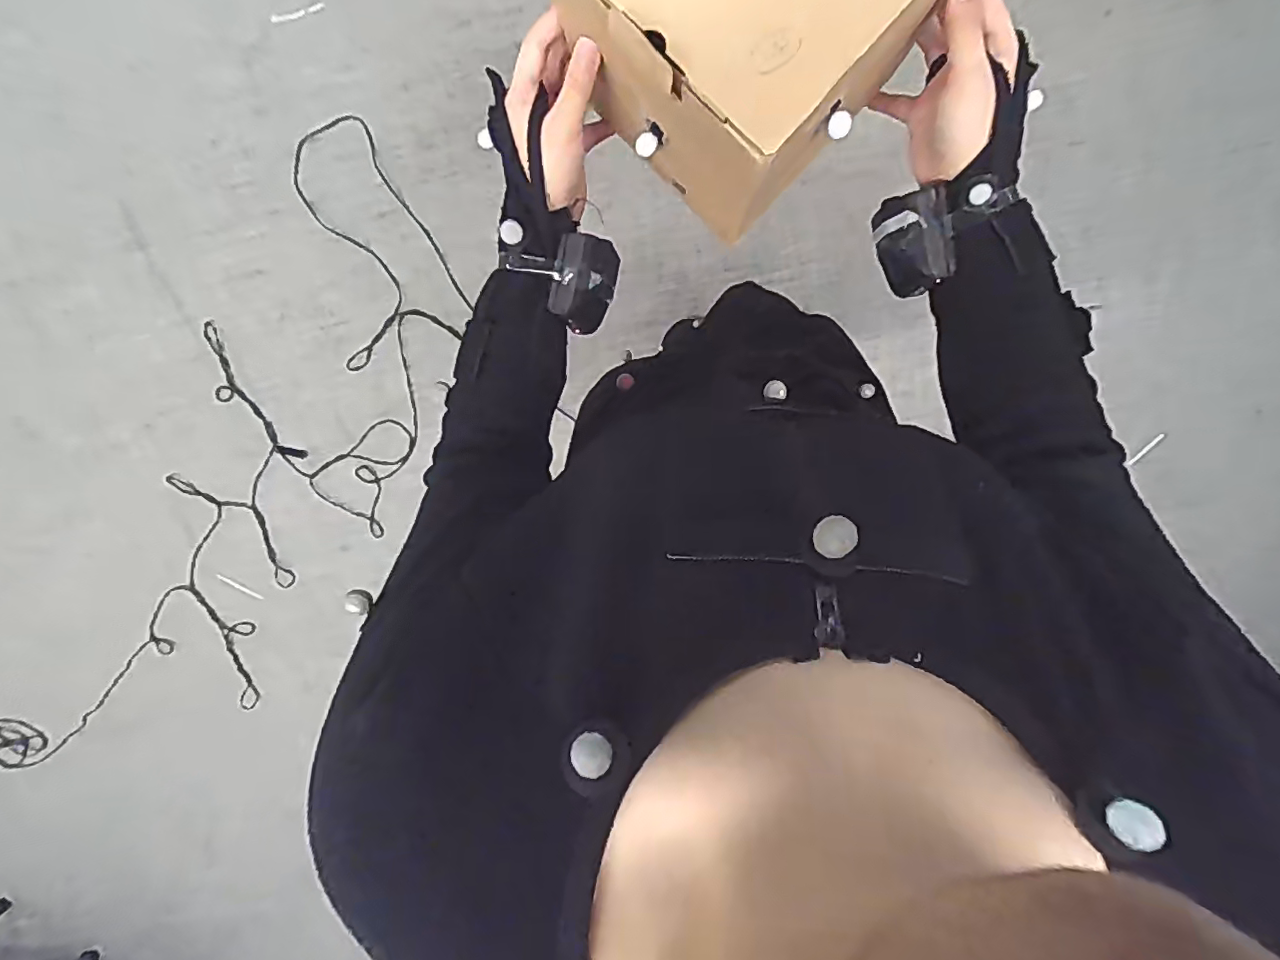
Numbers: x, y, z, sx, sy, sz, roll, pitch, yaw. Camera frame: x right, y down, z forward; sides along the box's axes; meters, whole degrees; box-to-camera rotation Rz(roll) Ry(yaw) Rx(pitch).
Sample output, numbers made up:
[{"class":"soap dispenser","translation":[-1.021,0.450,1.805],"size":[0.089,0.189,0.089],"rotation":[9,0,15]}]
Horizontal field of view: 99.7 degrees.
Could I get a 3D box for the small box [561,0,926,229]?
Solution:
[{"class":"small box","translation":[0.069,-0.298,0.346],"size":[0.168,0.176,0.179],"rotation":[43,100,-3]}]
